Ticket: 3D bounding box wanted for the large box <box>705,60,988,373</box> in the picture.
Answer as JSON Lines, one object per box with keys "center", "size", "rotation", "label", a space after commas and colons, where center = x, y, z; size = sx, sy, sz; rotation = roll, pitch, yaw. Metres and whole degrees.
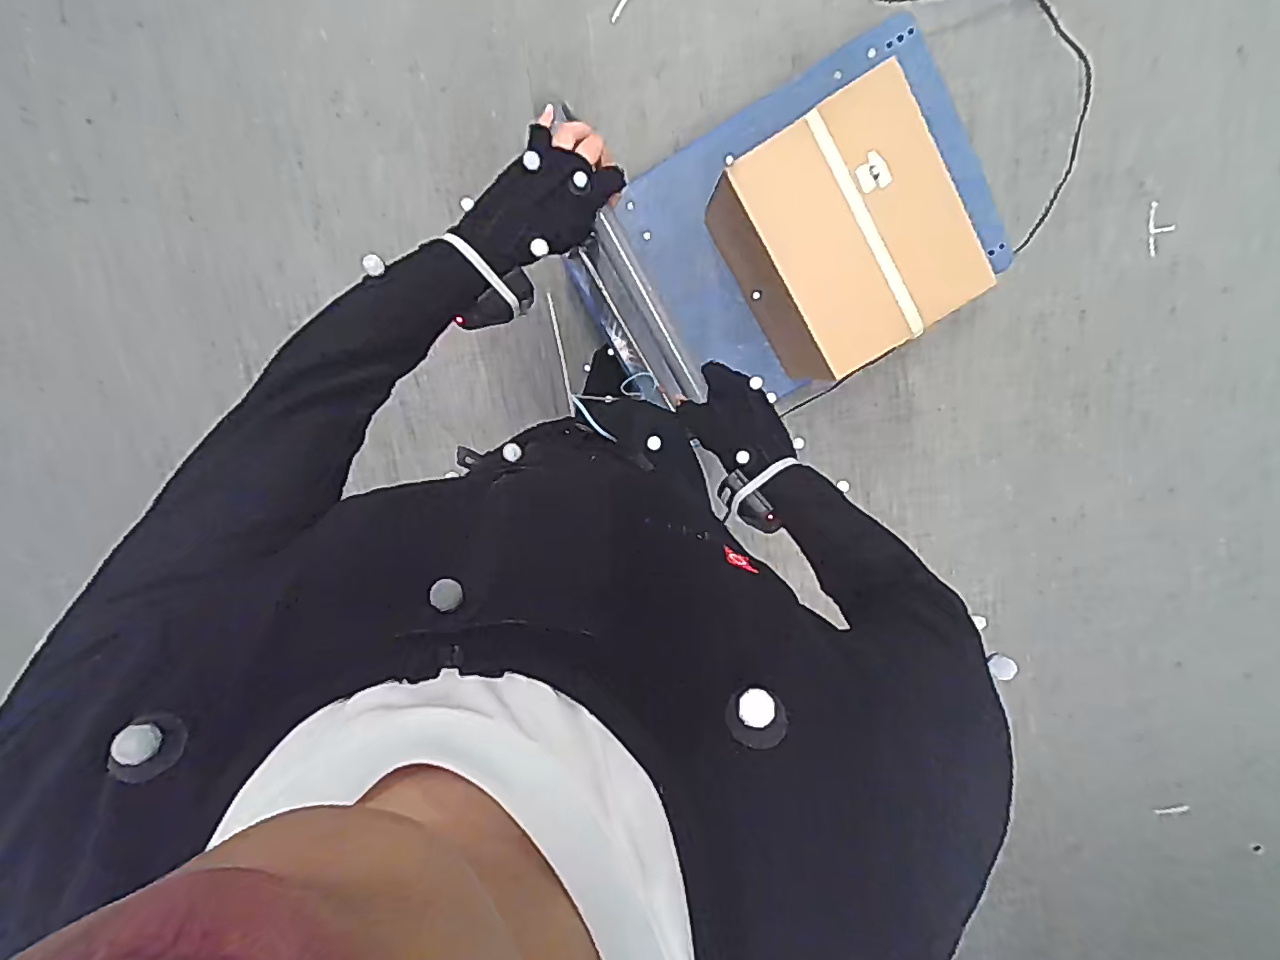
{"center": [0.367, -0.460, 1.054], "size": [0.320, 0.320, 0.408], "rotation": [-31, 99, 6], "label": "large box"}
